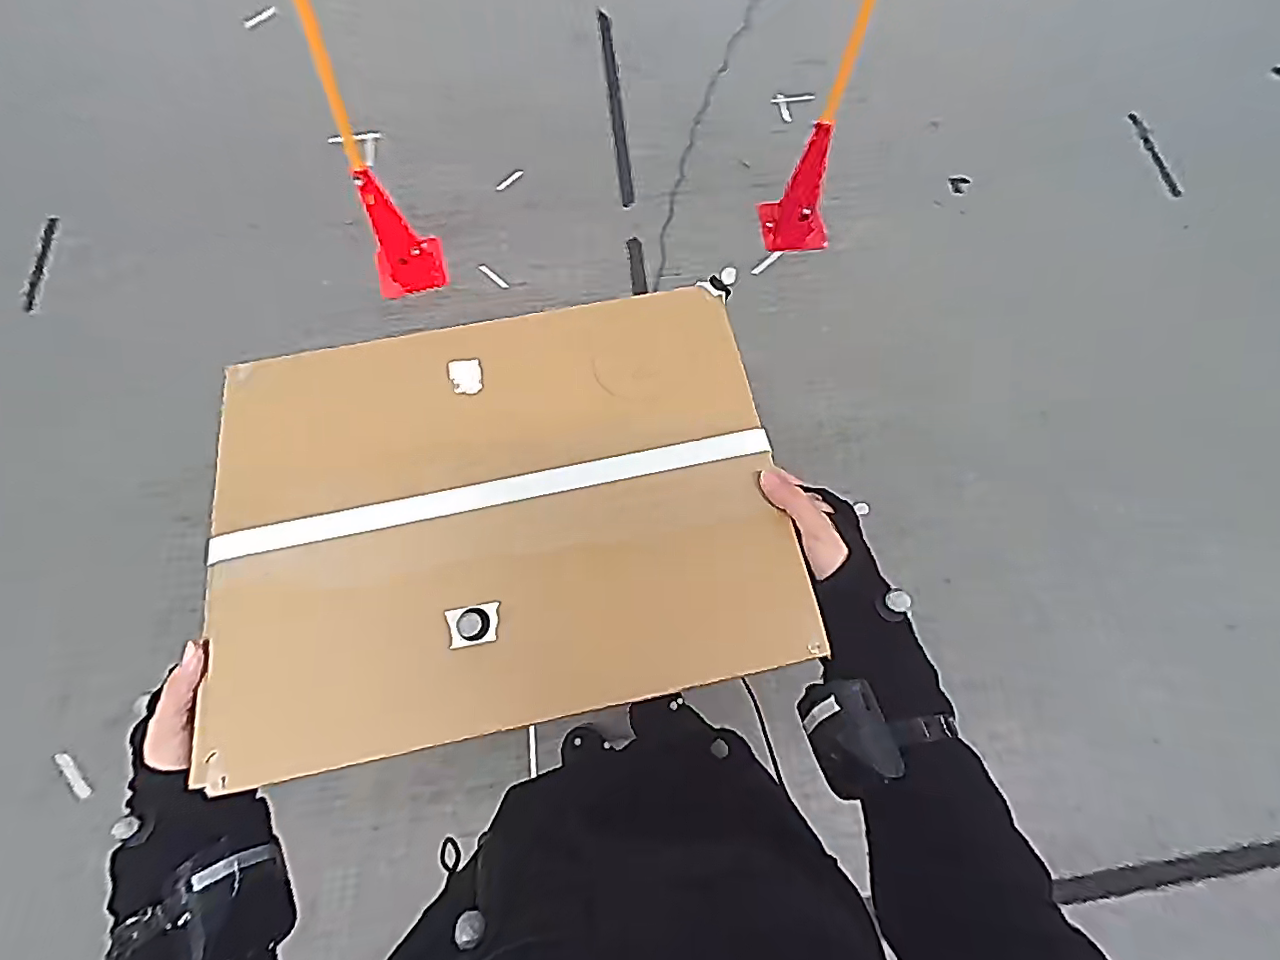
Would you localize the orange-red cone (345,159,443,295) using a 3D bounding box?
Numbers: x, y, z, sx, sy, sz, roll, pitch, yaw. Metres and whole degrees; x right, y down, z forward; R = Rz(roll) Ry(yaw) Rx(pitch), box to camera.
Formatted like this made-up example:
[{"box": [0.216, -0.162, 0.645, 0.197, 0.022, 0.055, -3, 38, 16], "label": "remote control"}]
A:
[{"box": [-0.713, -0.720, 1.502, 0.199, 0.360, 0.198, -15, 70, -5], "label": "orange-red cone"}]
